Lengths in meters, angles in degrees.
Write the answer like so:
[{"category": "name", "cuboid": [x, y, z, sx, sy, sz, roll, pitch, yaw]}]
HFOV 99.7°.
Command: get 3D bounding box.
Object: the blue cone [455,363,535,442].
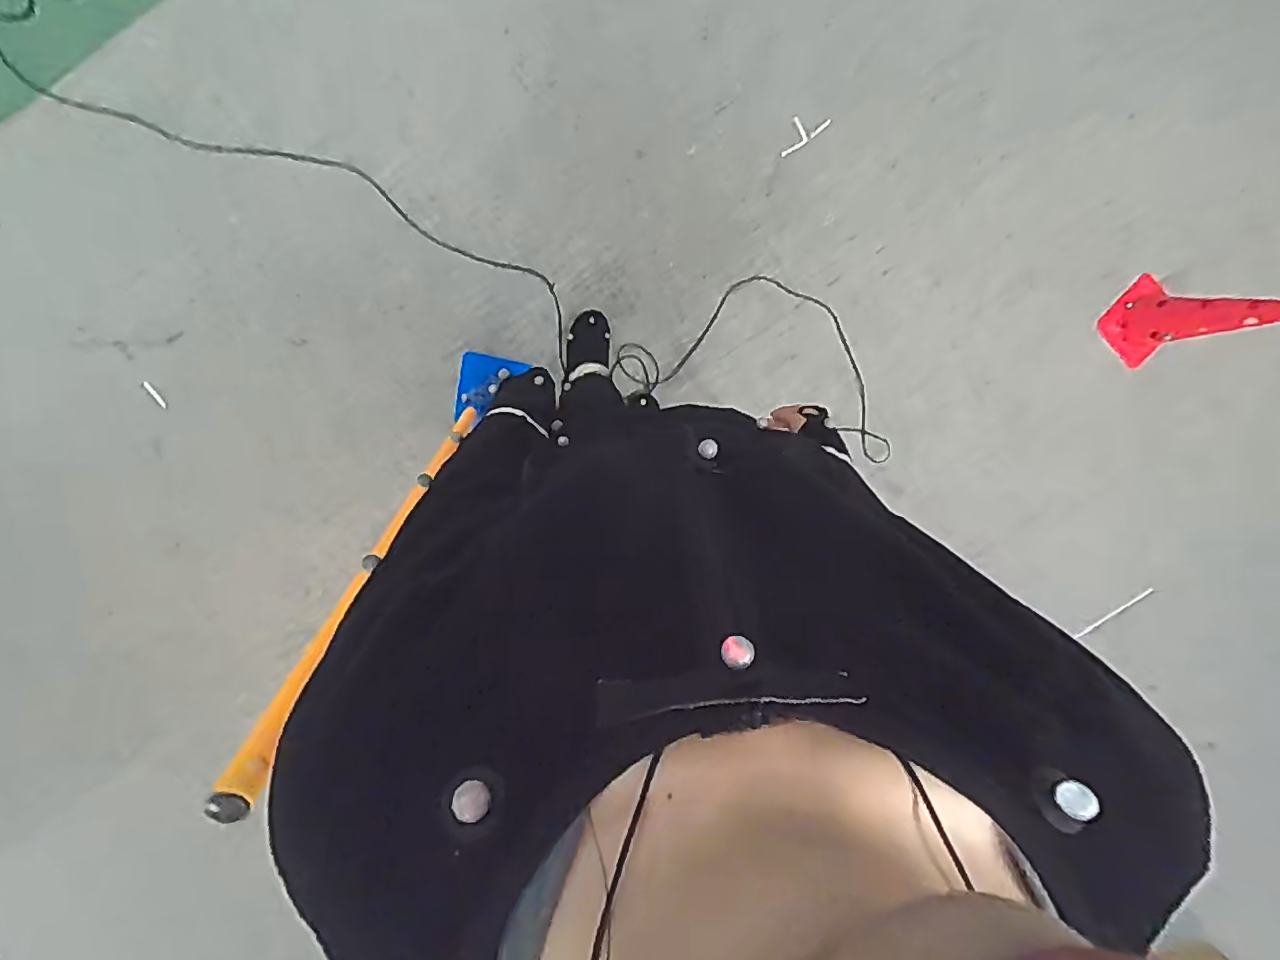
[{"category": "blue cone", "cuboid": [-0.356, -0.156, 1.240, 0.192, 0.380, 0.193, 9, 103, -9]}]
